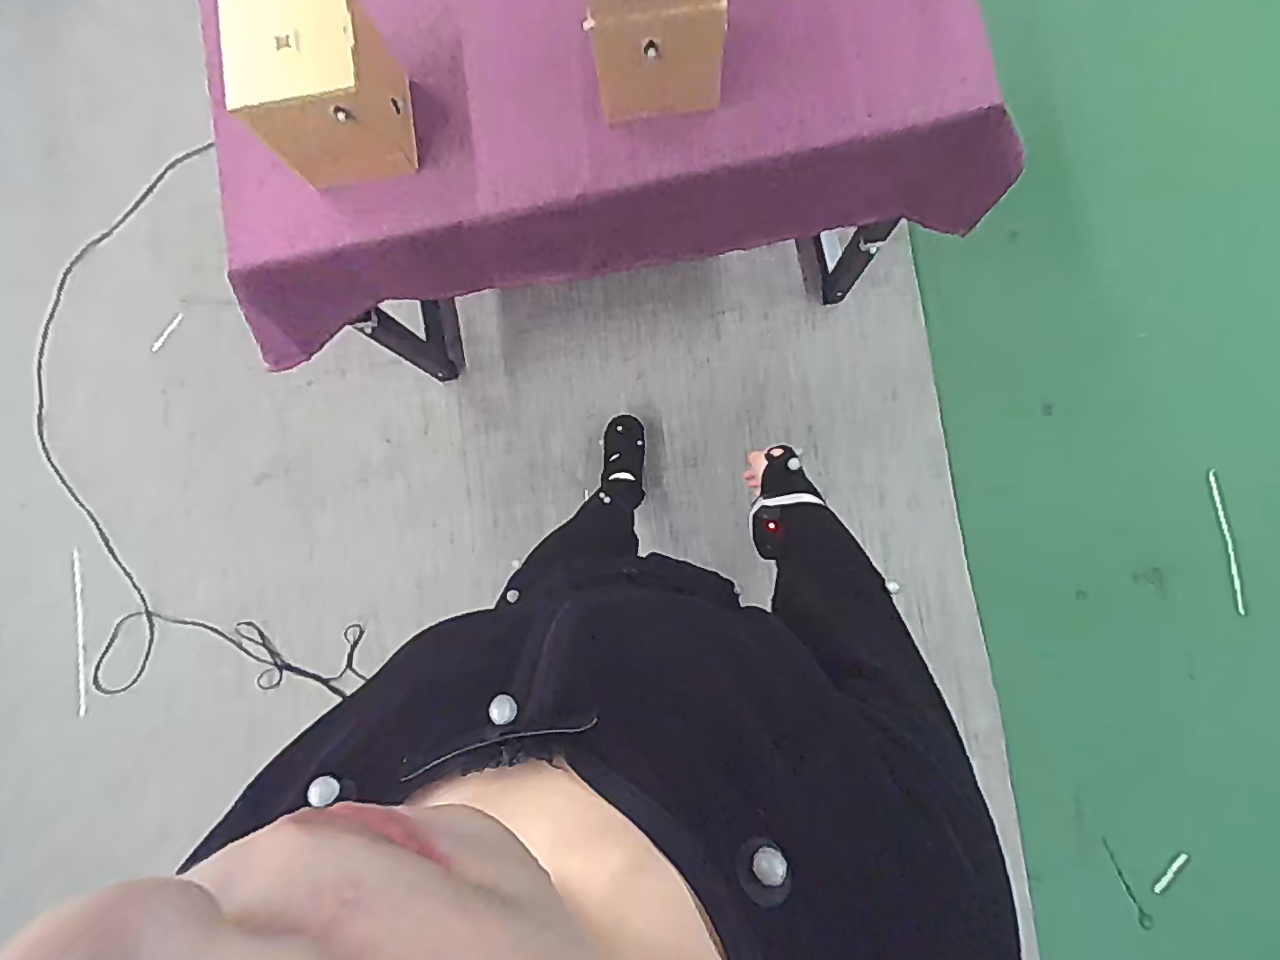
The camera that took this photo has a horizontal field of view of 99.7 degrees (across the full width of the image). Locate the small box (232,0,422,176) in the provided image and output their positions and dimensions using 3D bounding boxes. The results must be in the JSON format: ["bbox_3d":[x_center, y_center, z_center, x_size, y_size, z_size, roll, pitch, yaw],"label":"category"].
[{"bbox_3d":[-0.444,-0.576,0.787,0.179,0.176,0.168,-9,84,3],"label":"small box"}]

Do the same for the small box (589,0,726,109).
[{"bbox_3d":[0.026,-0.659,0.756,0.179,0.176,0.168,-4,85,4],"label":"small box"}]
